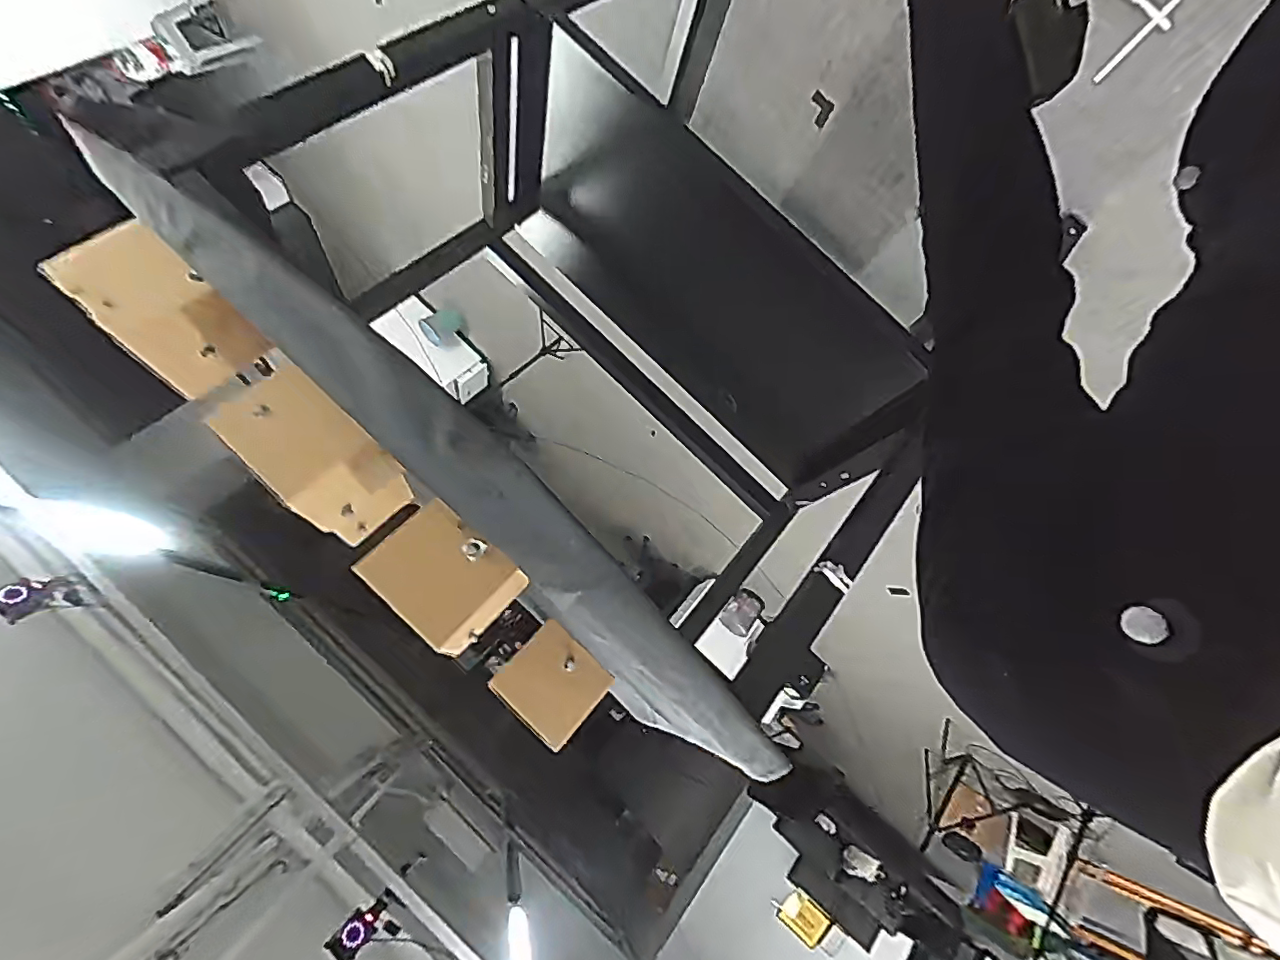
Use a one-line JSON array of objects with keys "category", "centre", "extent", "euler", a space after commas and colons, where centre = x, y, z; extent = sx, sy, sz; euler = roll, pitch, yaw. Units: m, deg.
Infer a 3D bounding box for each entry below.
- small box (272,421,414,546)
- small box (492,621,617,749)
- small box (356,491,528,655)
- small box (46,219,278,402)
[{"category": "small box", "centre": [-0.597, 0.007, 1.114], "extent": [0.168, 0.176, 0.179], "euler": [42, 158, 2]}, {"category": "small box", "centre": [-0.174, 0.399, 1.084], "extent": [0.179, 0.176, 0.168], "euler": [43, 158, 4]}, {"category": "small box", "centre": [-0.286, 0.145, 0.827], "extent": [0.168, 0.176, 0.179], "euler": [41, 159, 5]}, {"category": "small box", "centre": [-0.722, -0.262, 0.843], "extent": [0.168, 0.176, 0.179], "euler": [42, 159, 4]}]
